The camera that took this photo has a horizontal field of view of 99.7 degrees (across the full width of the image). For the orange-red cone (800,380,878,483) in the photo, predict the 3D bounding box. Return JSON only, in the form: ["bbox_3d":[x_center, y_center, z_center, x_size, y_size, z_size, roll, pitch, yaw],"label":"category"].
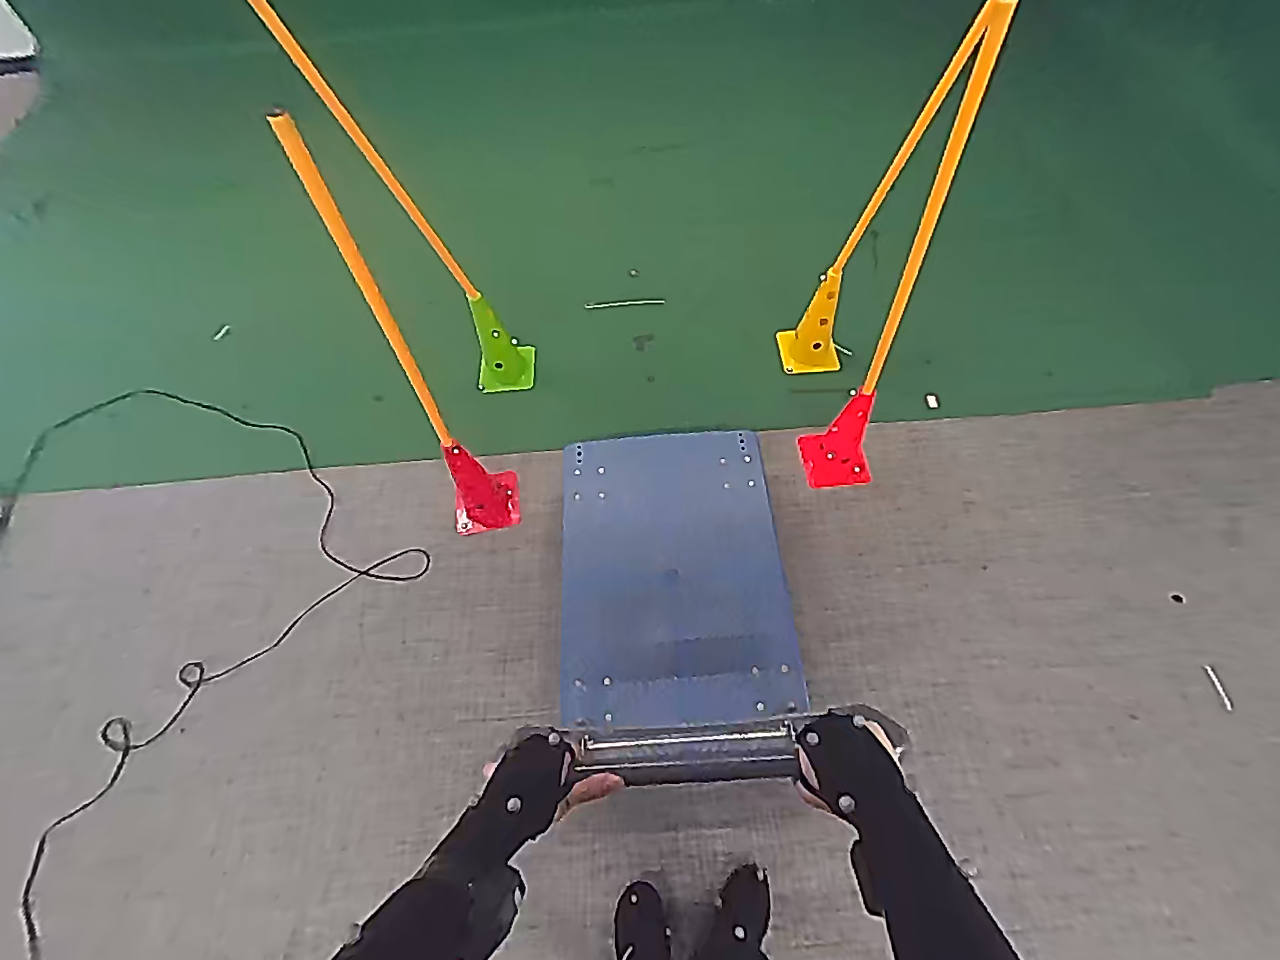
[{"bbox_3d":[0.614,-0.163,1.572,0.198,0.360,0.199,-4,59,0],"label":"orange-red cone"}]

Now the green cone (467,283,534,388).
[{"bbox_3d":[-0.499,-0.502,1.822,0.200,0.368,0.202,-5,60,2],"label":"green cone"}]
